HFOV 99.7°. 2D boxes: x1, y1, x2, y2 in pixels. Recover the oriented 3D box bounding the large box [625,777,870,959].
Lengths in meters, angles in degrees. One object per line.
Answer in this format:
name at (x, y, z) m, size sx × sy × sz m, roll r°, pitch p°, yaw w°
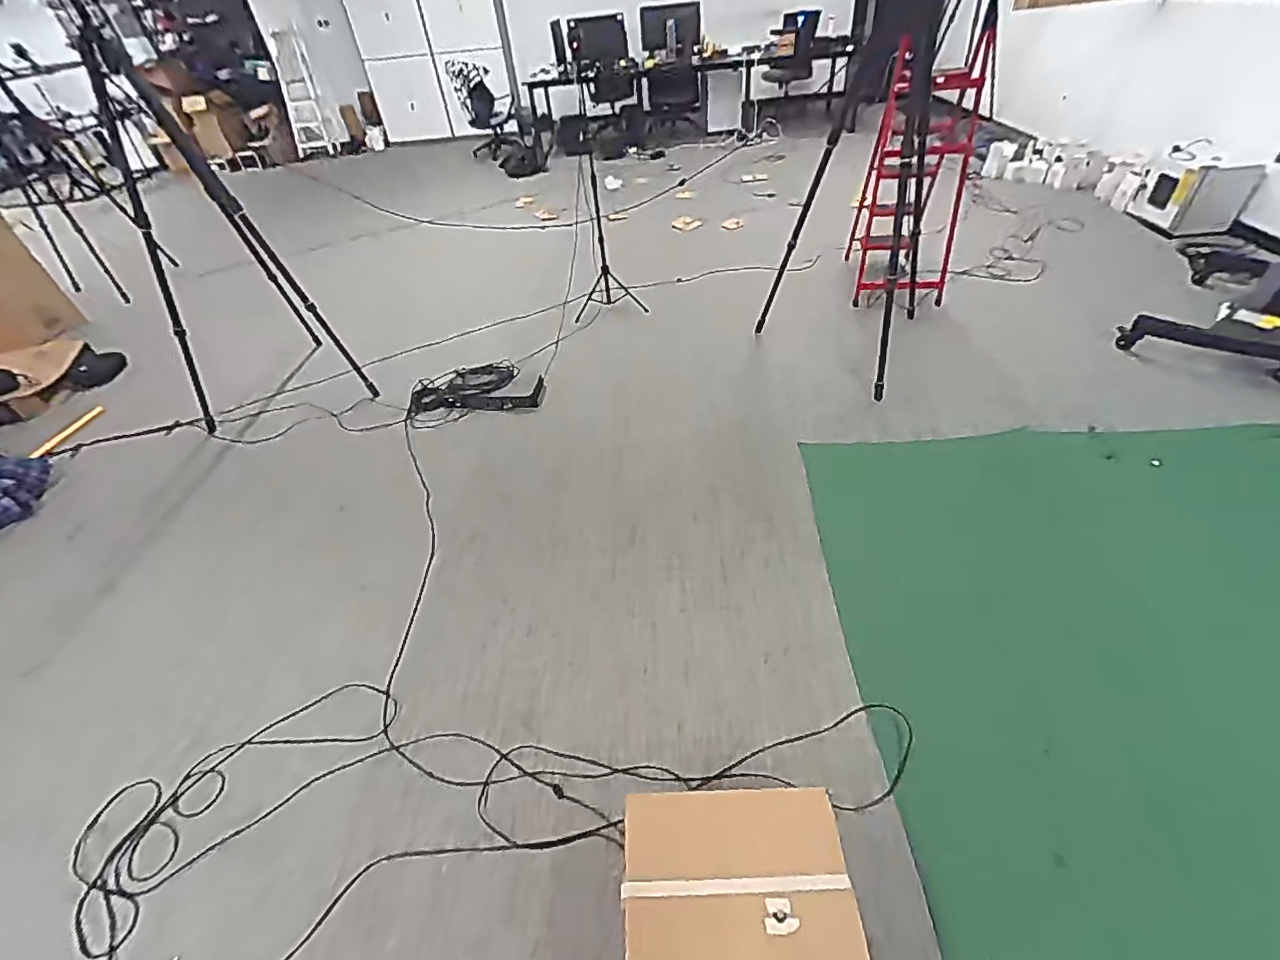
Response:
large box at (0.179, 0.821, 1.077) m, size 0.408 × 0.320 × 0.320 m, roll -3°, pitch 44°, yaw 1°
